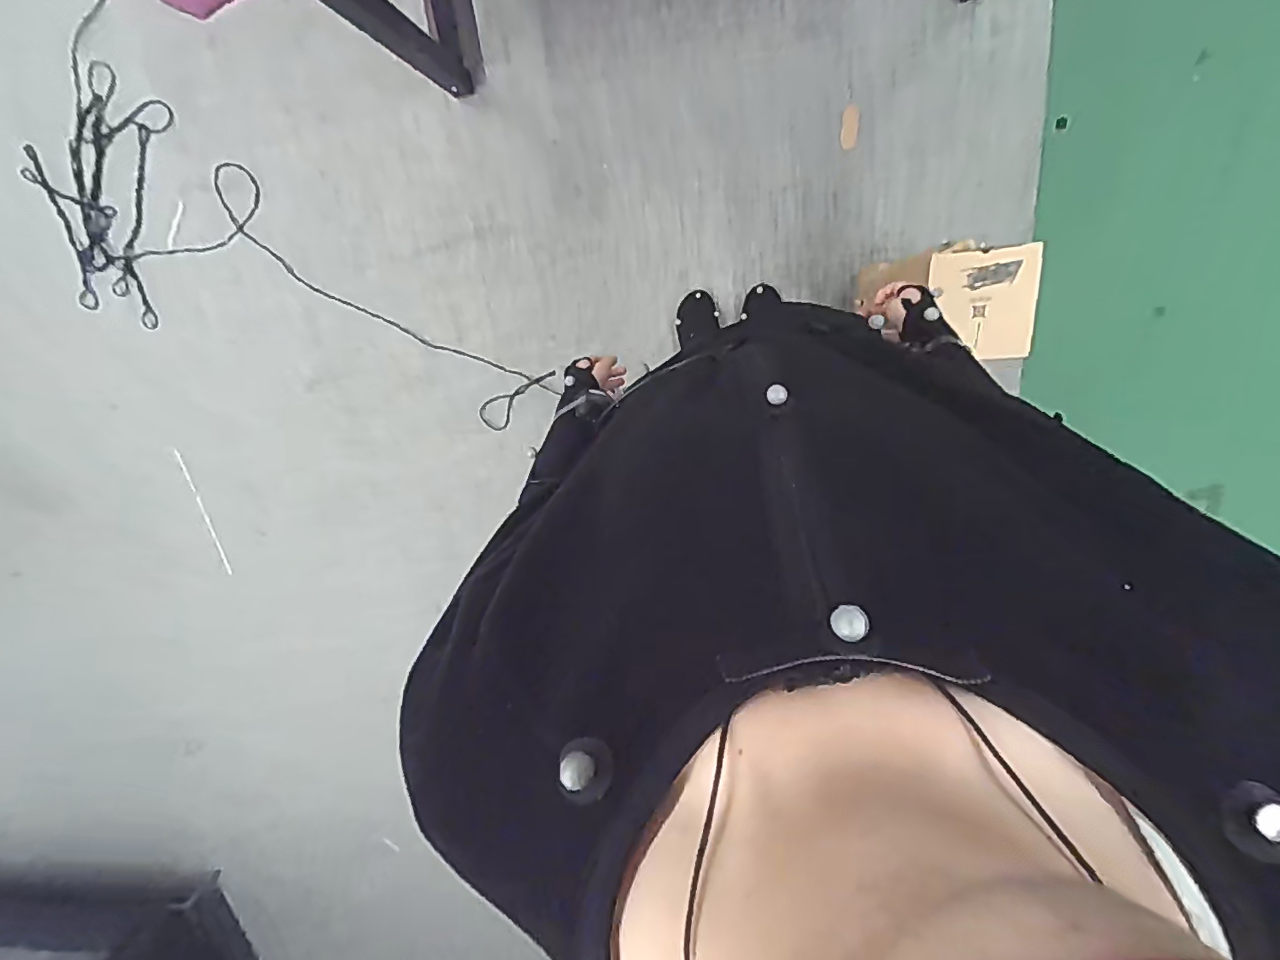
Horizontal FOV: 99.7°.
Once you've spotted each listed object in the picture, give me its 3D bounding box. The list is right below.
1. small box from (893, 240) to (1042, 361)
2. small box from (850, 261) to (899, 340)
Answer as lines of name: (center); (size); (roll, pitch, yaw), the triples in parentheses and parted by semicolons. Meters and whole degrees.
small box: (0.553, -0.309, 0.941); (0.168, 0.176, 0.179); (-2, 110, 9)
small box: (0.601, -0.410, 1.251); (0.179, 0.176, 0.168); (6, 110, 7)
